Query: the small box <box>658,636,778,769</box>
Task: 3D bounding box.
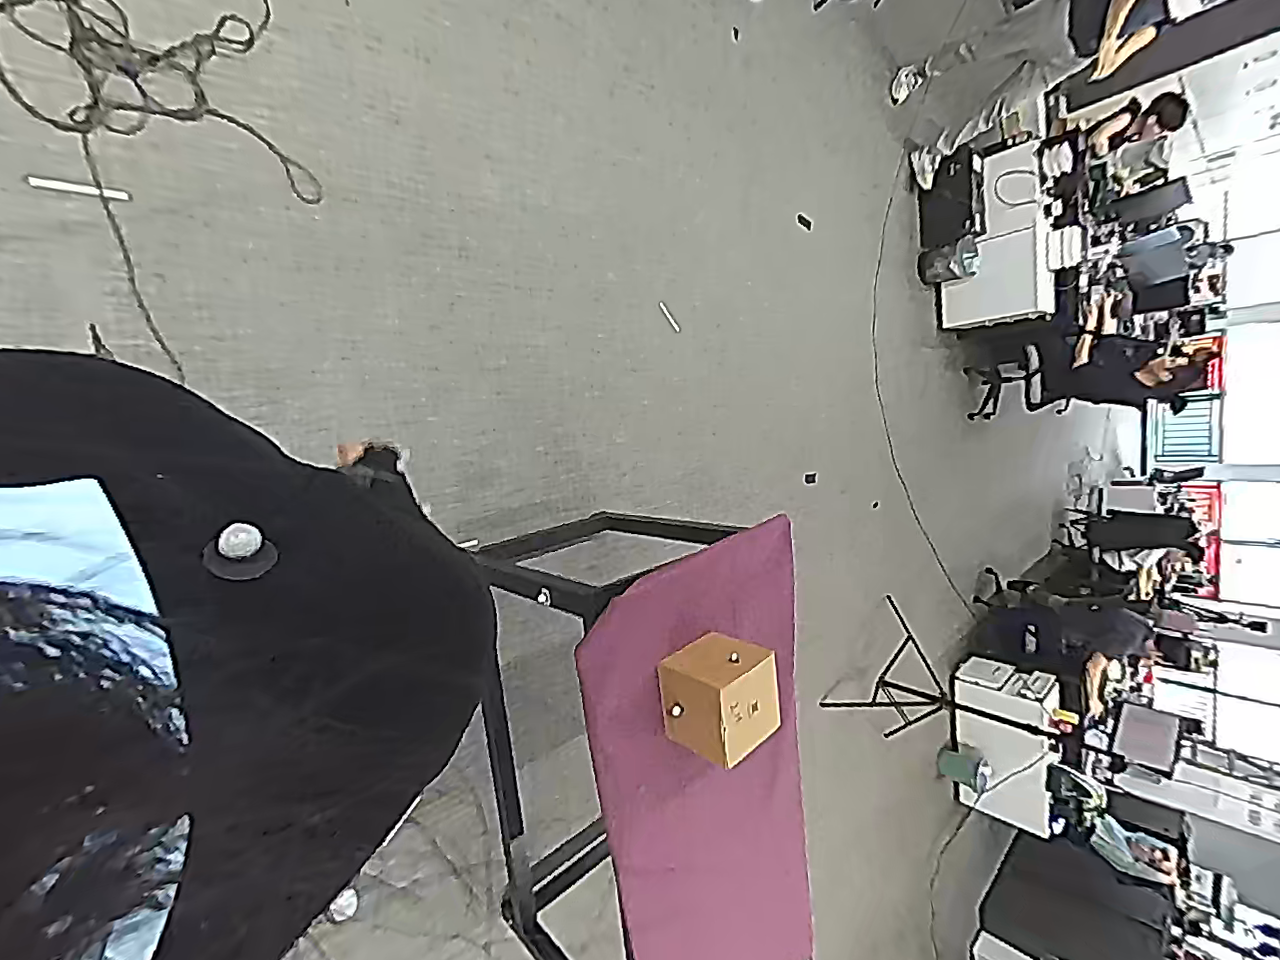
[{"bbox_3d":[0.160,0.439,1.105,0.179,0.176,0.168,-14,102,-40],"label":"small box"}]
